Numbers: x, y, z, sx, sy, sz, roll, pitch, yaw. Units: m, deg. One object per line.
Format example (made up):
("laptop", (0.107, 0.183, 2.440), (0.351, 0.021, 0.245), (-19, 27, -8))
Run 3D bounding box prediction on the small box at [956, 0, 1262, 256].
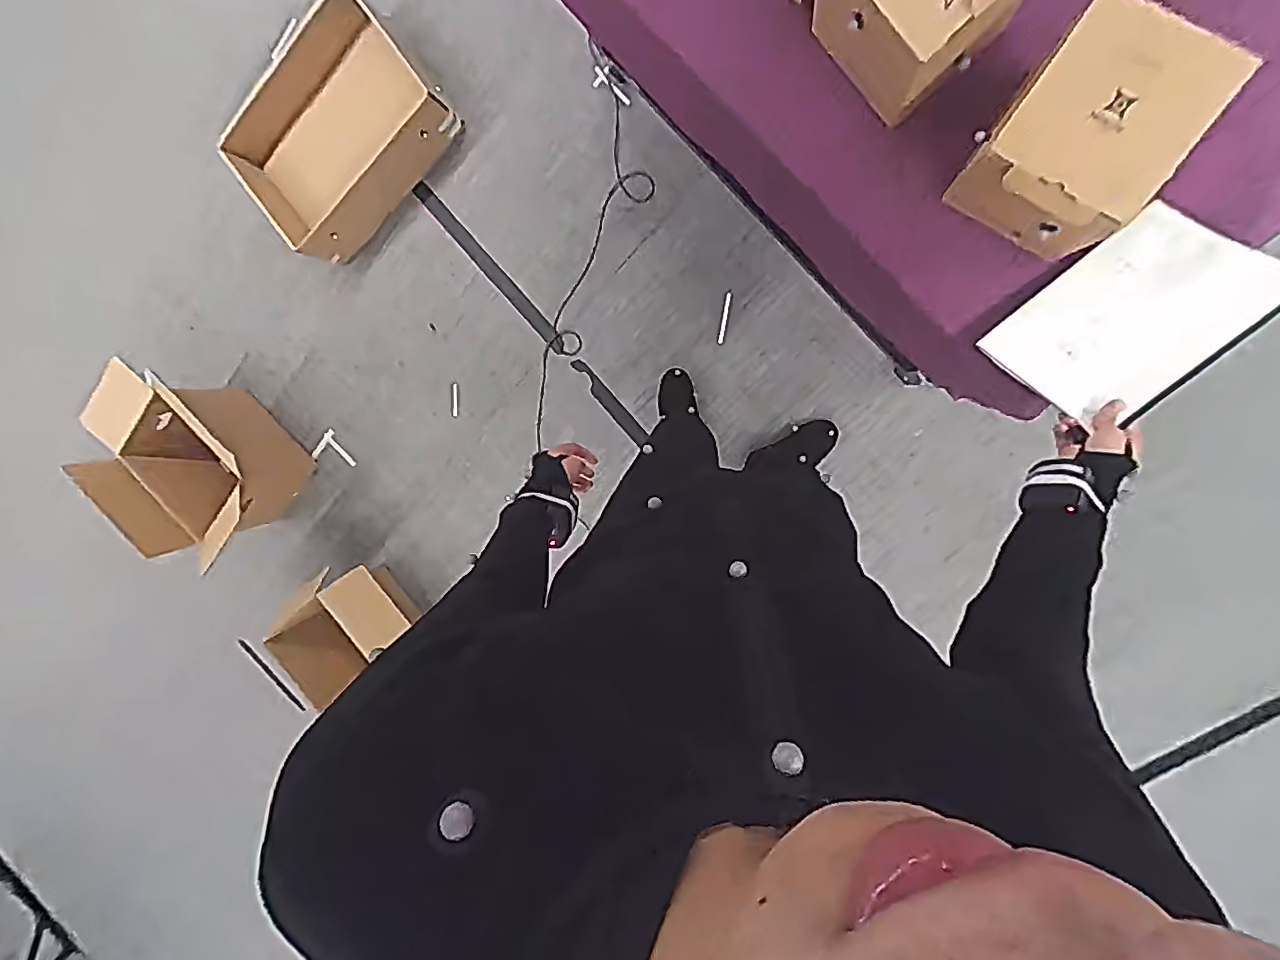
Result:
("small box", (0.499, -0.386, 0.619), (0.168, 0.176, 0.179), (34, 106, 5))
